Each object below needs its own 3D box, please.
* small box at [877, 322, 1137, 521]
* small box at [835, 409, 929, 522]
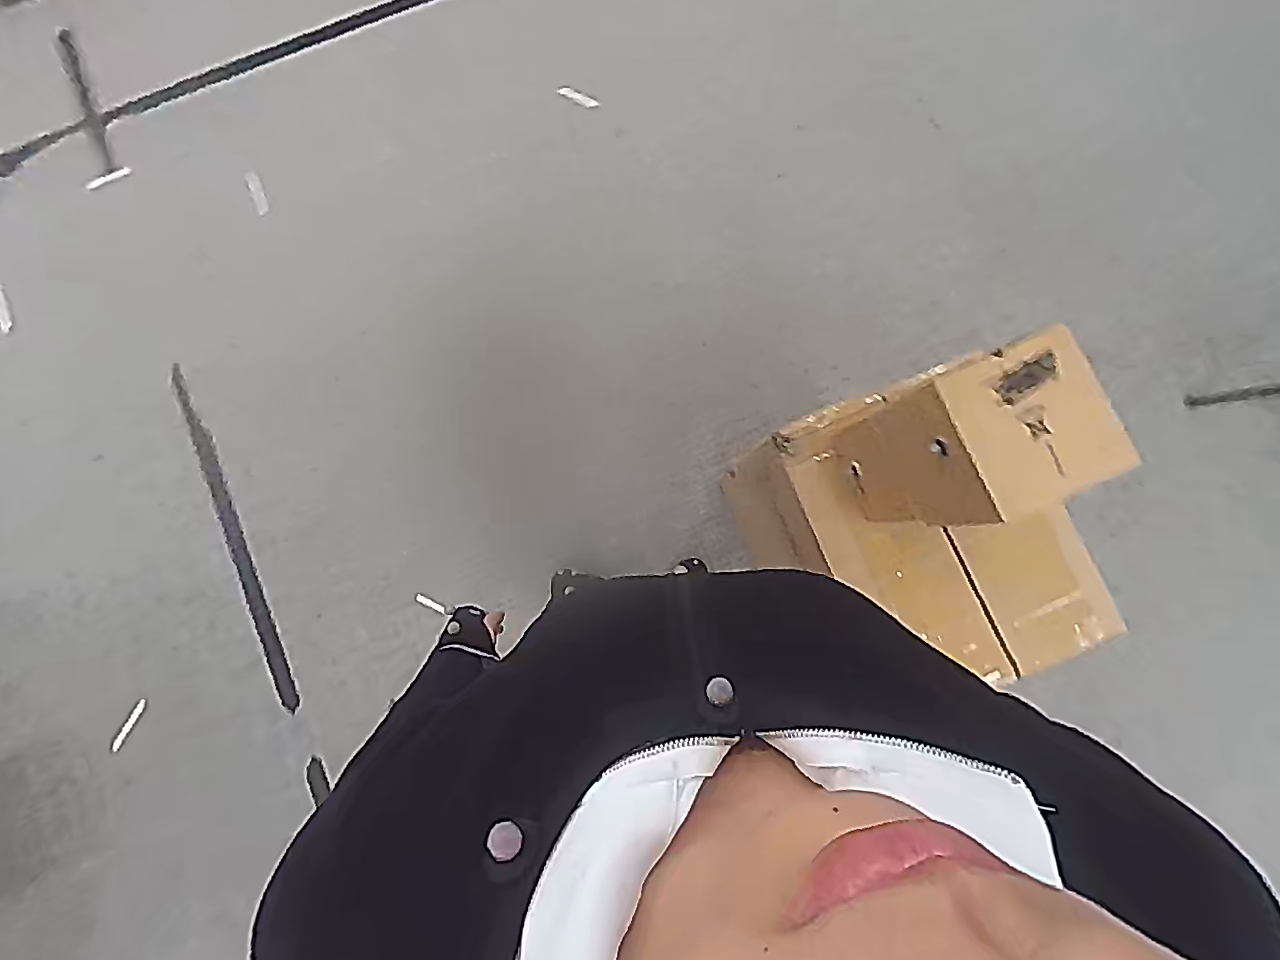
[{"bbox_3d":[0.428,-0.059,0.667,0.168,0.176,0.179,-23,84,-1],"label":"small box"},{"bbox_3d":[0.433,-0.042,0.831,0.179,0.176,0.168,-23,83,0],"label":"small box"}]
